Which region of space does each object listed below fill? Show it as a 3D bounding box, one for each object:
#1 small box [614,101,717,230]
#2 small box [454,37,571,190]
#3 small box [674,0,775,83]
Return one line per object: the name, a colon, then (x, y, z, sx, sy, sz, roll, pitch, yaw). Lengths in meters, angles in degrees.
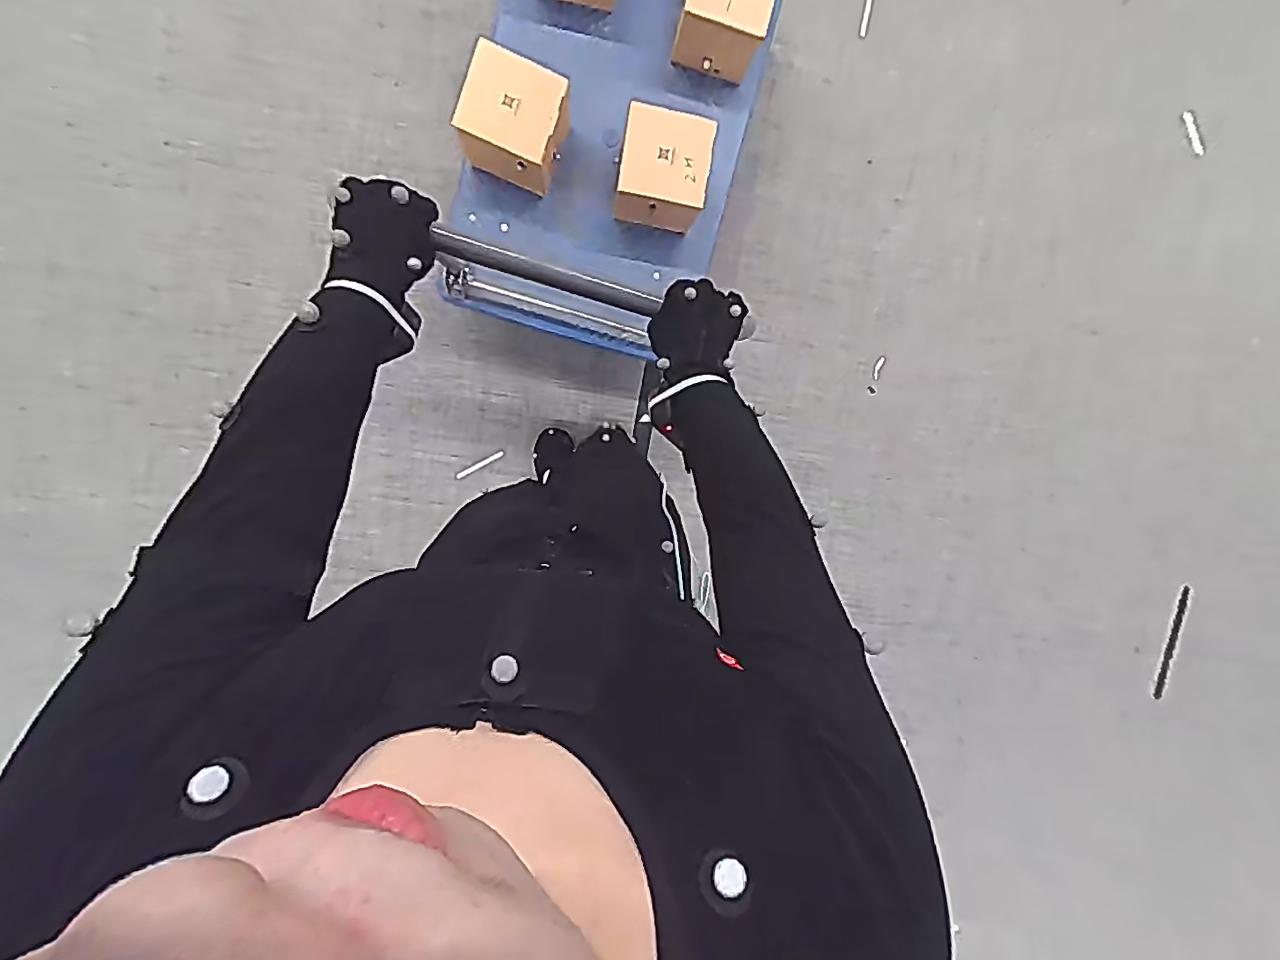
small box: (0.045, -0.647, 1.134, 0.179, 0.176, 0.168, 9, 98, -8)
small box: (-0.249, -0.721, 1.091, 0.179, 0.176, 0.168, 20, 95, -11)
small box: (0.175, -0.965, 1.098, 0.168, 0.176, 0.179, 13, 98, -8)
